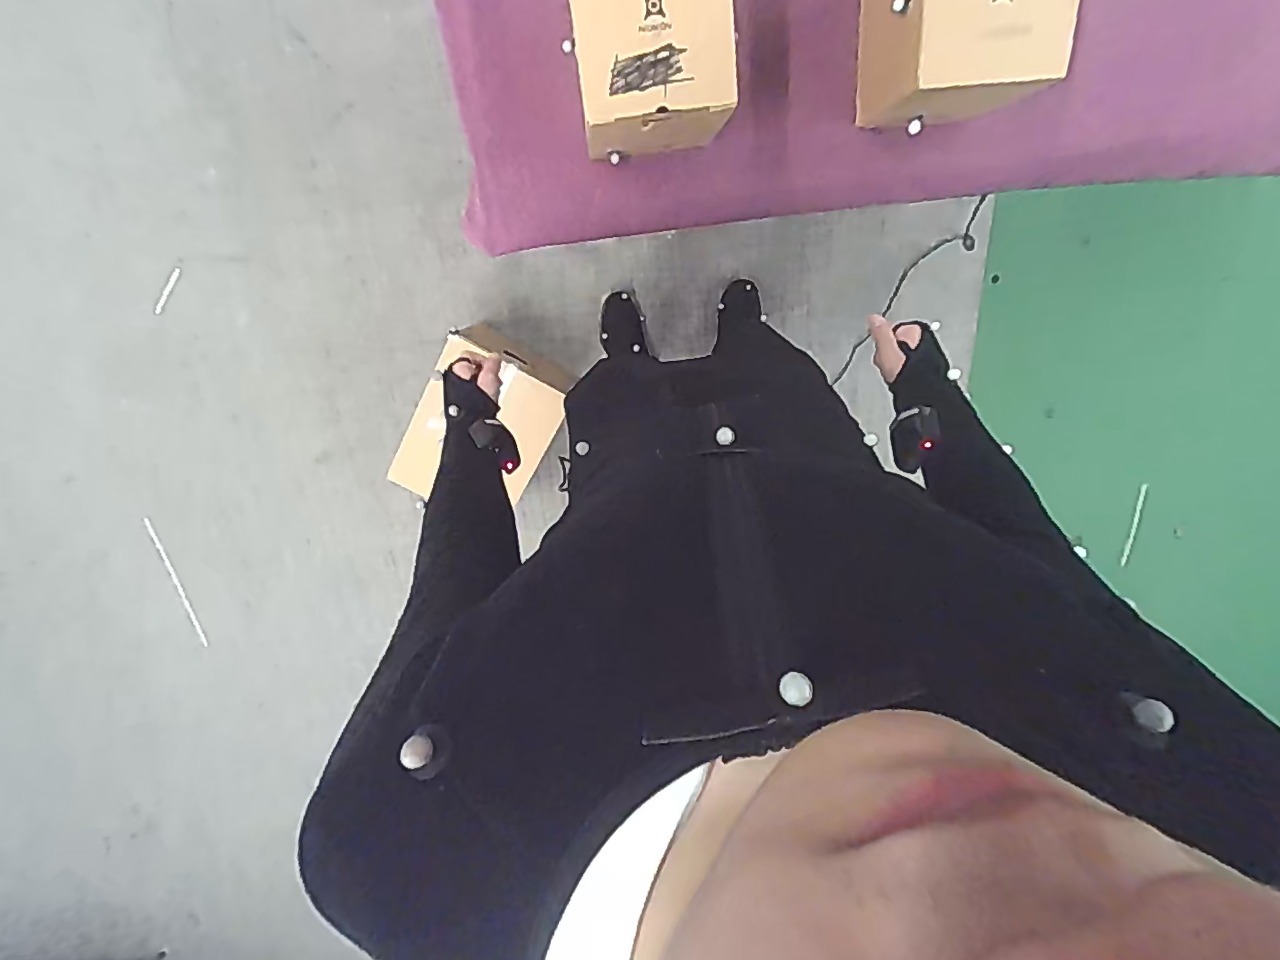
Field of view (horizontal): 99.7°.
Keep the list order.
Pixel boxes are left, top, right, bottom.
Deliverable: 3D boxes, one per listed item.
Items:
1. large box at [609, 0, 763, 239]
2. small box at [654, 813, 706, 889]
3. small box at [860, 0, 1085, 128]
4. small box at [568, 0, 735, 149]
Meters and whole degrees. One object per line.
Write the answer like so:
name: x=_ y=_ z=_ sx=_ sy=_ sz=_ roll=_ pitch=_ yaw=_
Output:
large box: x=0.081 y=-0.788 z=1.217 sx=0.320 sy=0.320 sz=0.408 roll=-6 pitch=110 yaw=-1
small box: x=0.149 y=1.423 z=2.082 sx=0.179 sy=0.176 sz=0.168 roll=-9 pitch=110 yaw=0
small box: x=0.370 y=-0.531 z=0.621 sx=0.168 sy=0.176 sz=0.179 roll=-4 pitch=110 yaw=0
small box: x=0.009 y=-0.494 z=0.614 sx=0.168 sy=0.176 sz=0.179 roll=-7 pitch=109 yaw=-1
